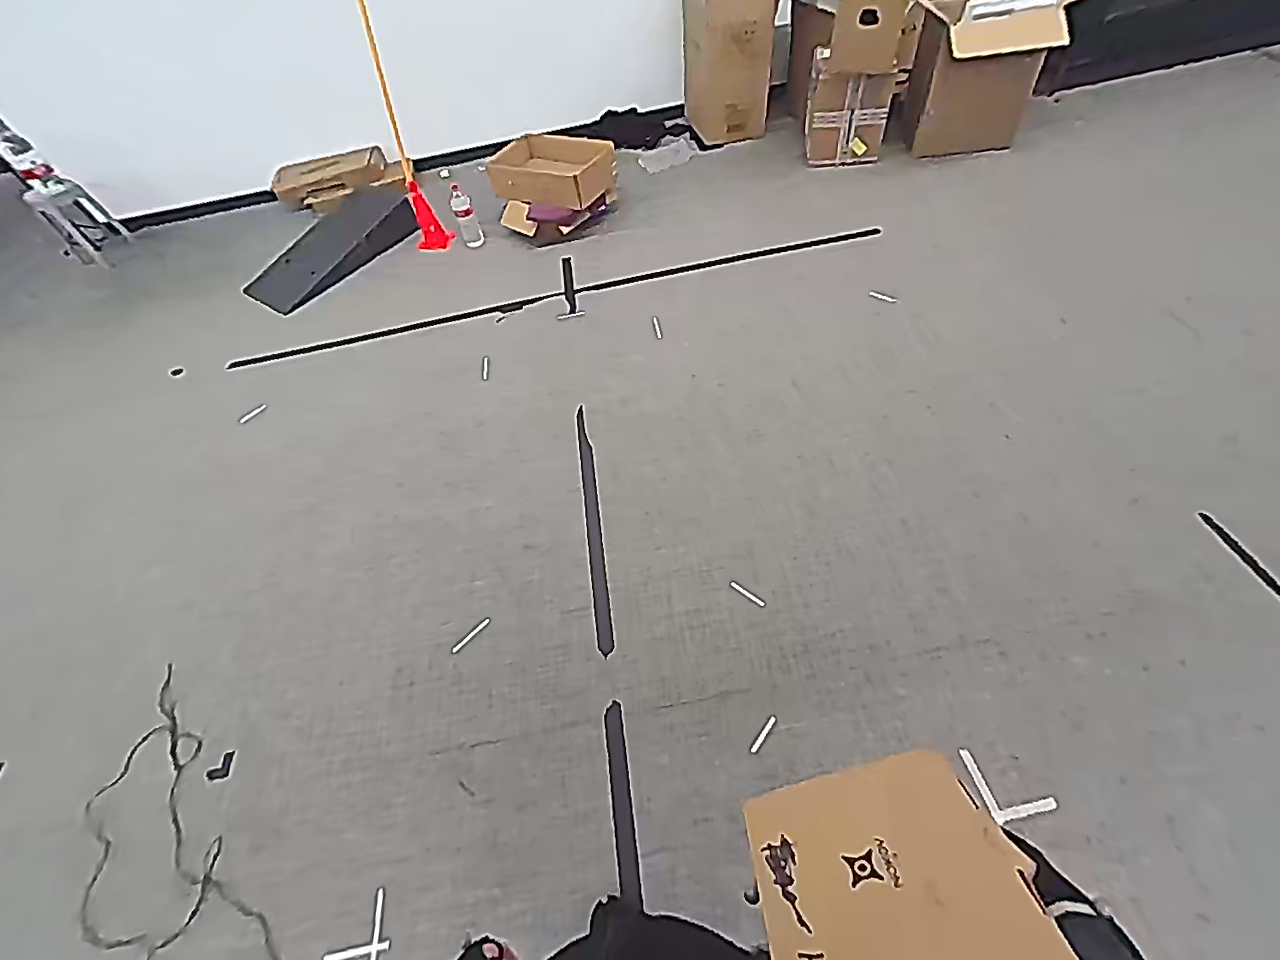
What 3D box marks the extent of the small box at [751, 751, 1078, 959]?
[{"bbox_3d":[0.204,0.356,0.419,0.179,0.176,0.168,-20,15,7],"label":"small box"}]
